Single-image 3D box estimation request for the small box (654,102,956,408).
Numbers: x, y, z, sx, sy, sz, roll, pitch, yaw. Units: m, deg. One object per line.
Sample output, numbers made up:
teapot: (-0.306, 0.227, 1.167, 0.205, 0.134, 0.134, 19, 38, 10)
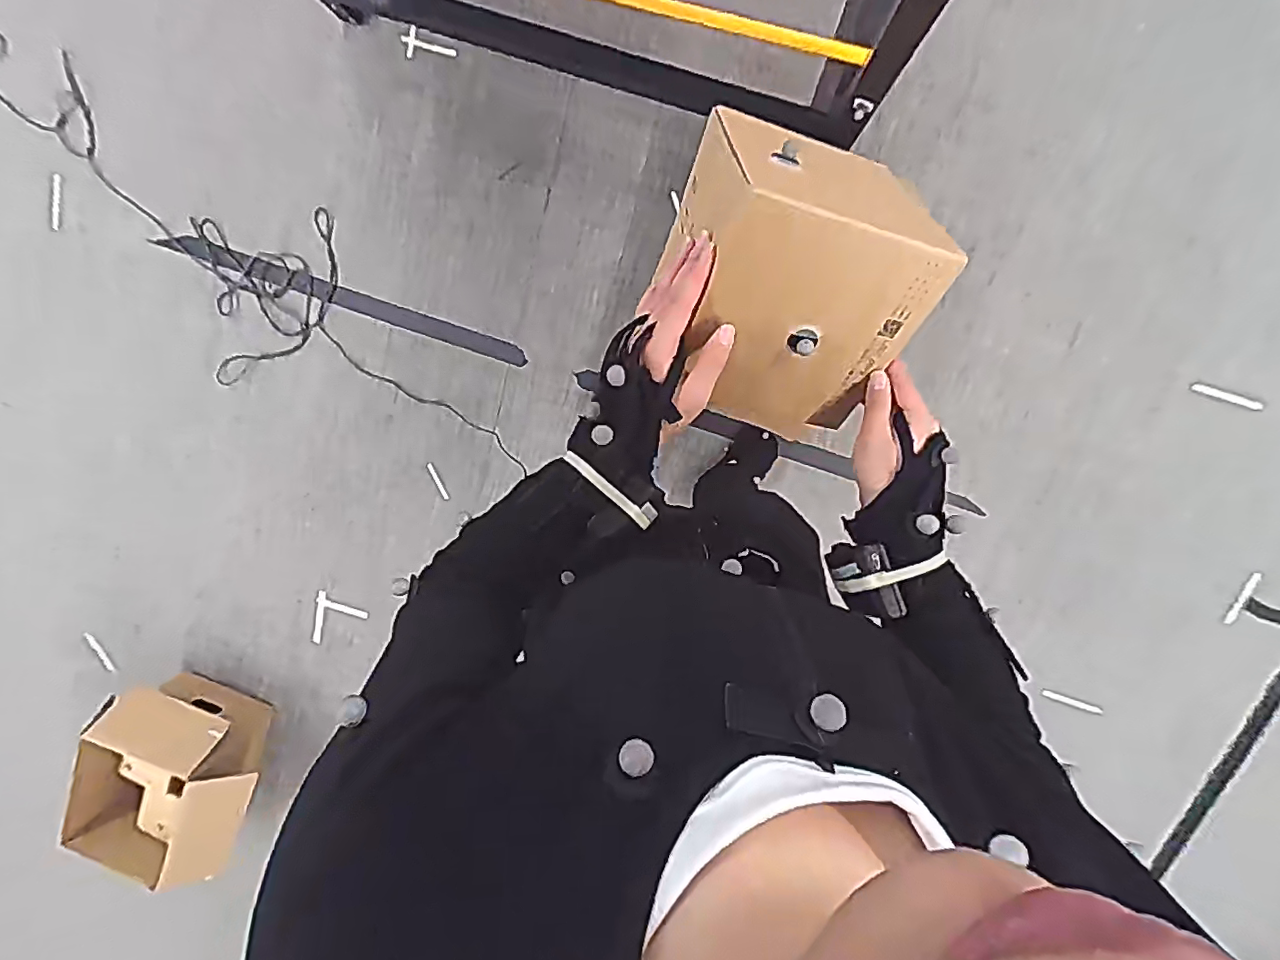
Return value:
small box: (0.121, -0.178, 0.458, 0.176, 0.179, 0.168, 10, 137, -15)
